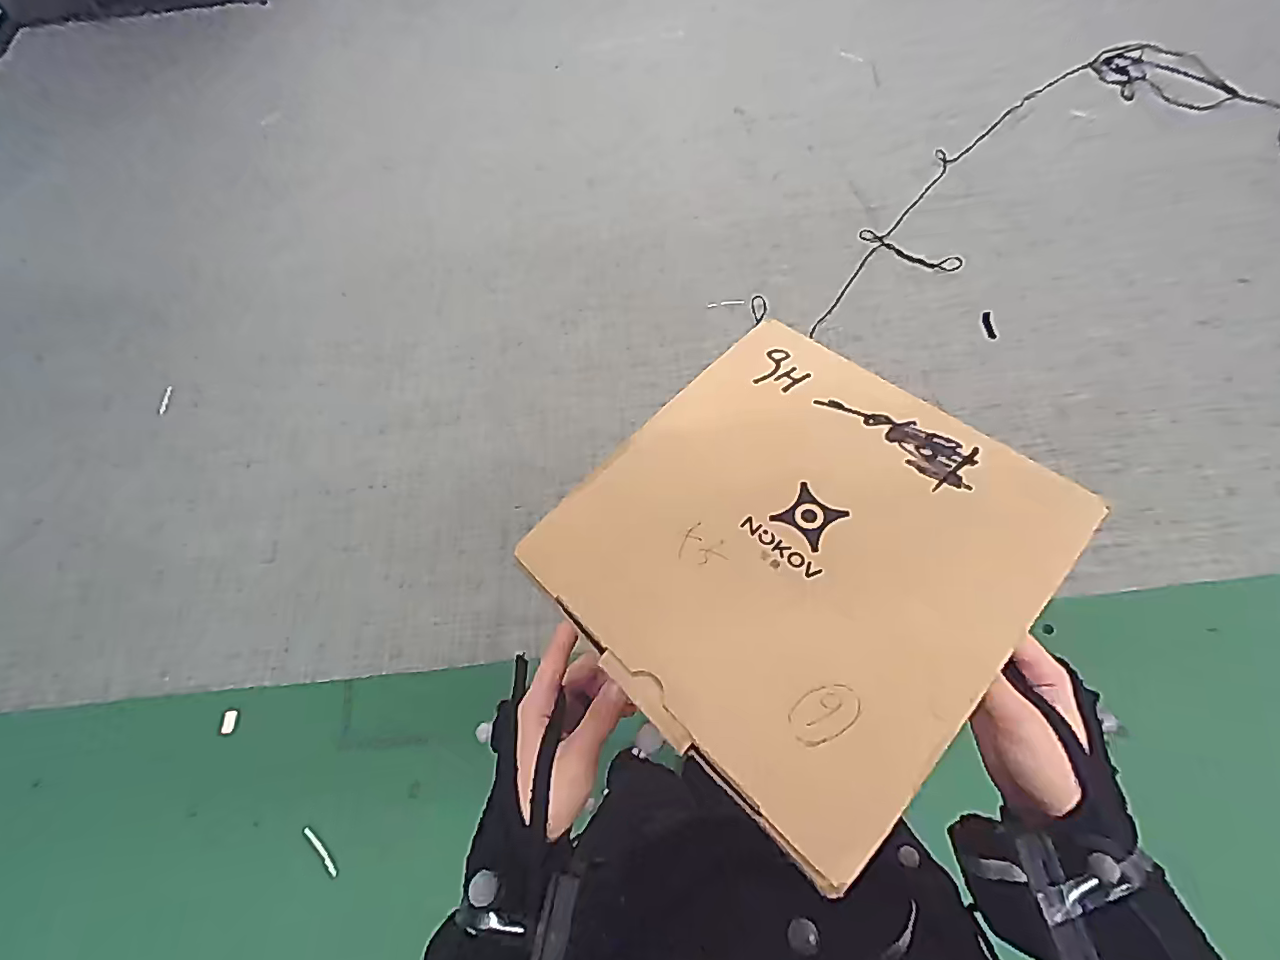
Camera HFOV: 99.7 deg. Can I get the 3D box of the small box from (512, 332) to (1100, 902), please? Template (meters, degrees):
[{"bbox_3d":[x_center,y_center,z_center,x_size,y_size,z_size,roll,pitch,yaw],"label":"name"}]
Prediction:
[{"bbox_3d":[0.071,0.066,0.286,0.179,0.176,0.168,-43,62,-15],"label":"small box"}]
